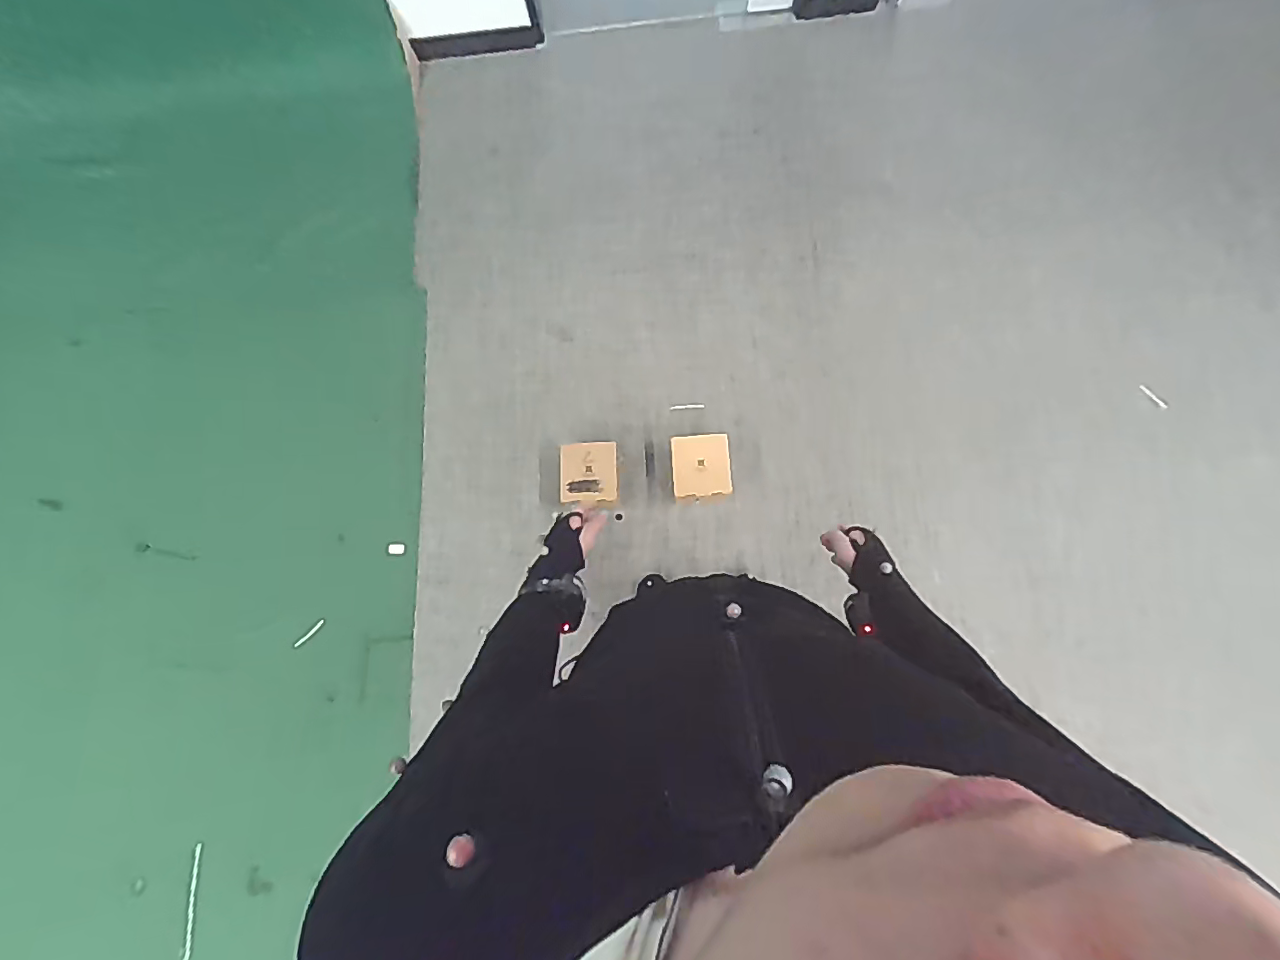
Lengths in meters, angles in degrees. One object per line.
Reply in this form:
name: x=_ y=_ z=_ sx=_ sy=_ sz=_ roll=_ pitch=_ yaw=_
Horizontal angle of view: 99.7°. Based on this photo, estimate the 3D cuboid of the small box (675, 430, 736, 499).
small box: x=0.191 y=-0.042 z=1.619 sx=0.168 sy=0.176 sz=0.179 roll=-4 pitch=81 yaw=4
